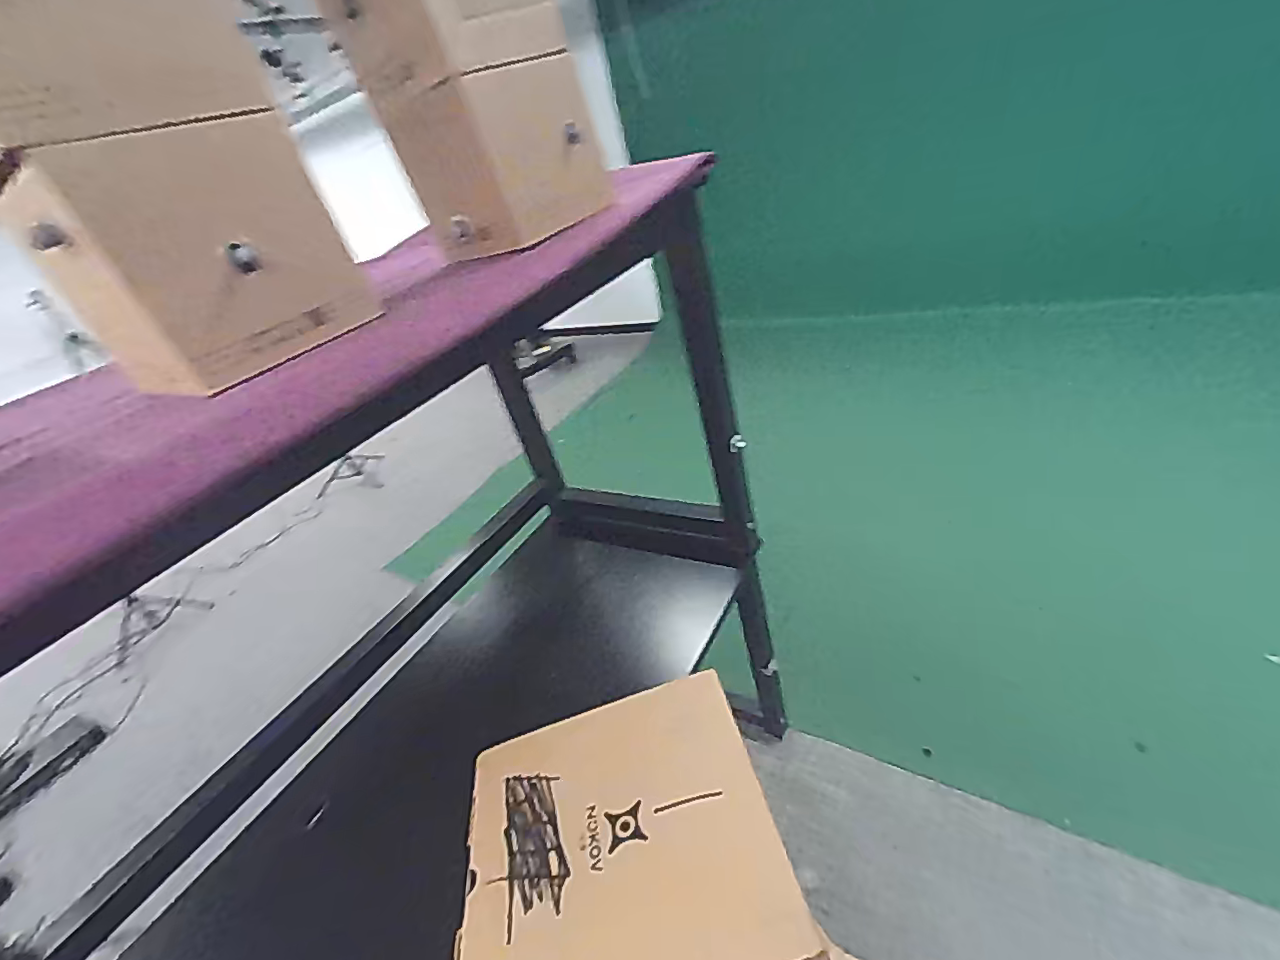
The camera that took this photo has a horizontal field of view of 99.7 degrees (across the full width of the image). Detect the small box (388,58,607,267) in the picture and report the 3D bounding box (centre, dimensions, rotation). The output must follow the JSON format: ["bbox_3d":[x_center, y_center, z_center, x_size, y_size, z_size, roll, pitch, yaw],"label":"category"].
[{"bbox_3d":[-0.161,-0.382,0.668,0.168,0.176,0.179,9,43,39],"label":"small box"}]

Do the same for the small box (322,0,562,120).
[{"bbox_3d":[-0.215,-0.511,0.585,0.168,0.176,0.179,11,43,41],"label":"small box"}]

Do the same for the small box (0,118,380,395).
[{"bbox_3d":[-0.368,-0.183,0.467,0.179,0.176,0.168,7,39,34],"label":"small box"}]

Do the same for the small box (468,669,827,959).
[{"bbox_3d":[0.011,0.263,0.347,0.179,0.176,0.168,-18,28,0],"label":"small box"}]
